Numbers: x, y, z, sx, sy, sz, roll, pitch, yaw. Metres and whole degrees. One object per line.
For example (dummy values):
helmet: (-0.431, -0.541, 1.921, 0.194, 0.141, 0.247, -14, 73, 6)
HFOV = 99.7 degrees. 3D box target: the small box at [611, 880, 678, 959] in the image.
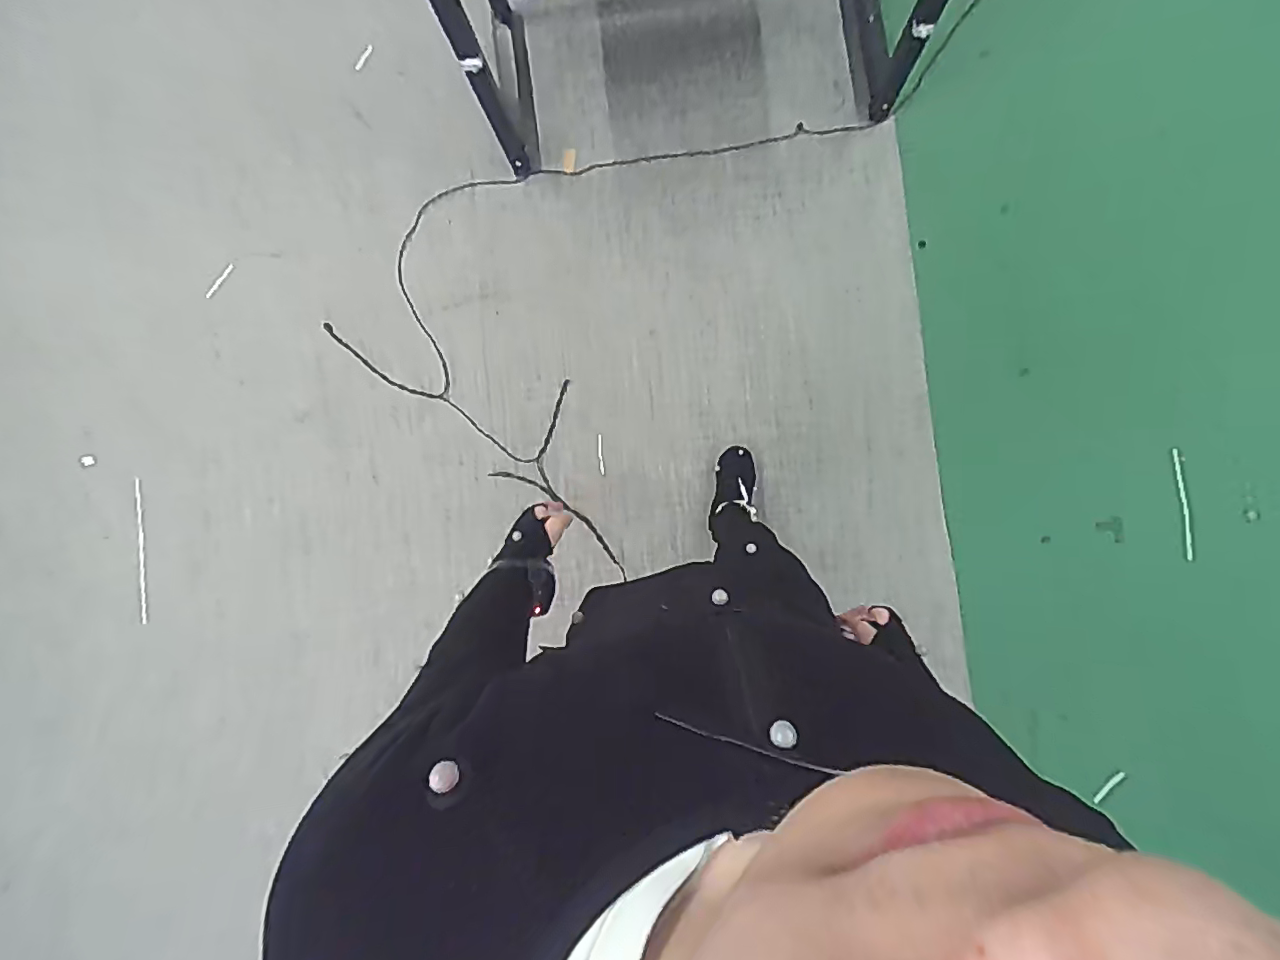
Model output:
small box: (0.014, 1.211, 1.449, 0.168, 0.176, 0.179, -5, 86, 3)
